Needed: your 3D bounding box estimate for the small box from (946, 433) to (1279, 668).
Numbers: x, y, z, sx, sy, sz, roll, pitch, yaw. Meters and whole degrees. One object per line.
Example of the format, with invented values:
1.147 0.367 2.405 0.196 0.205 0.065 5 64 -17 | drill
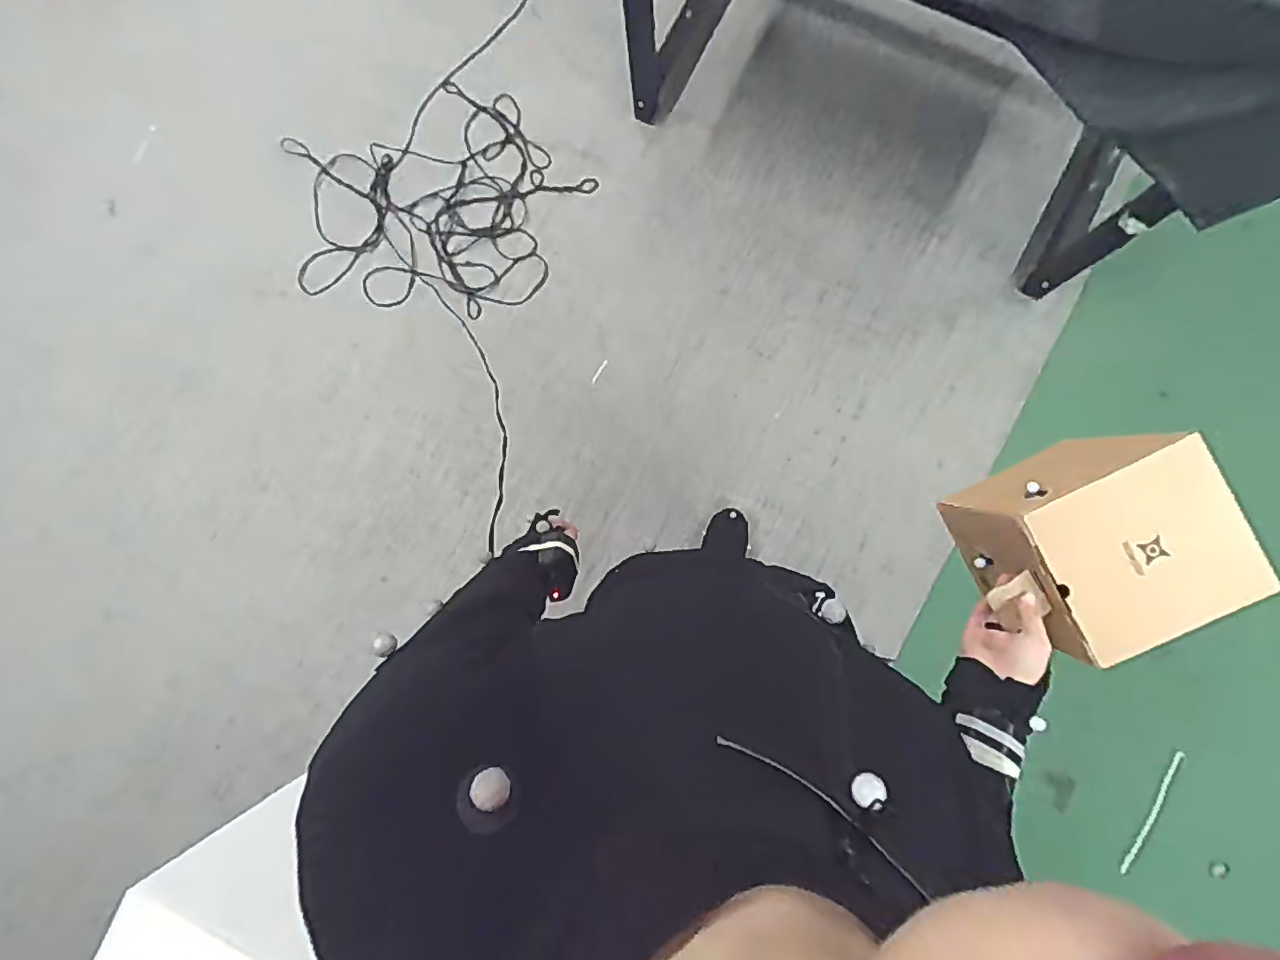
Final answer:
0.476 0.062 0.576 0.179 0.176 0.168 -28 89 6 | small box
